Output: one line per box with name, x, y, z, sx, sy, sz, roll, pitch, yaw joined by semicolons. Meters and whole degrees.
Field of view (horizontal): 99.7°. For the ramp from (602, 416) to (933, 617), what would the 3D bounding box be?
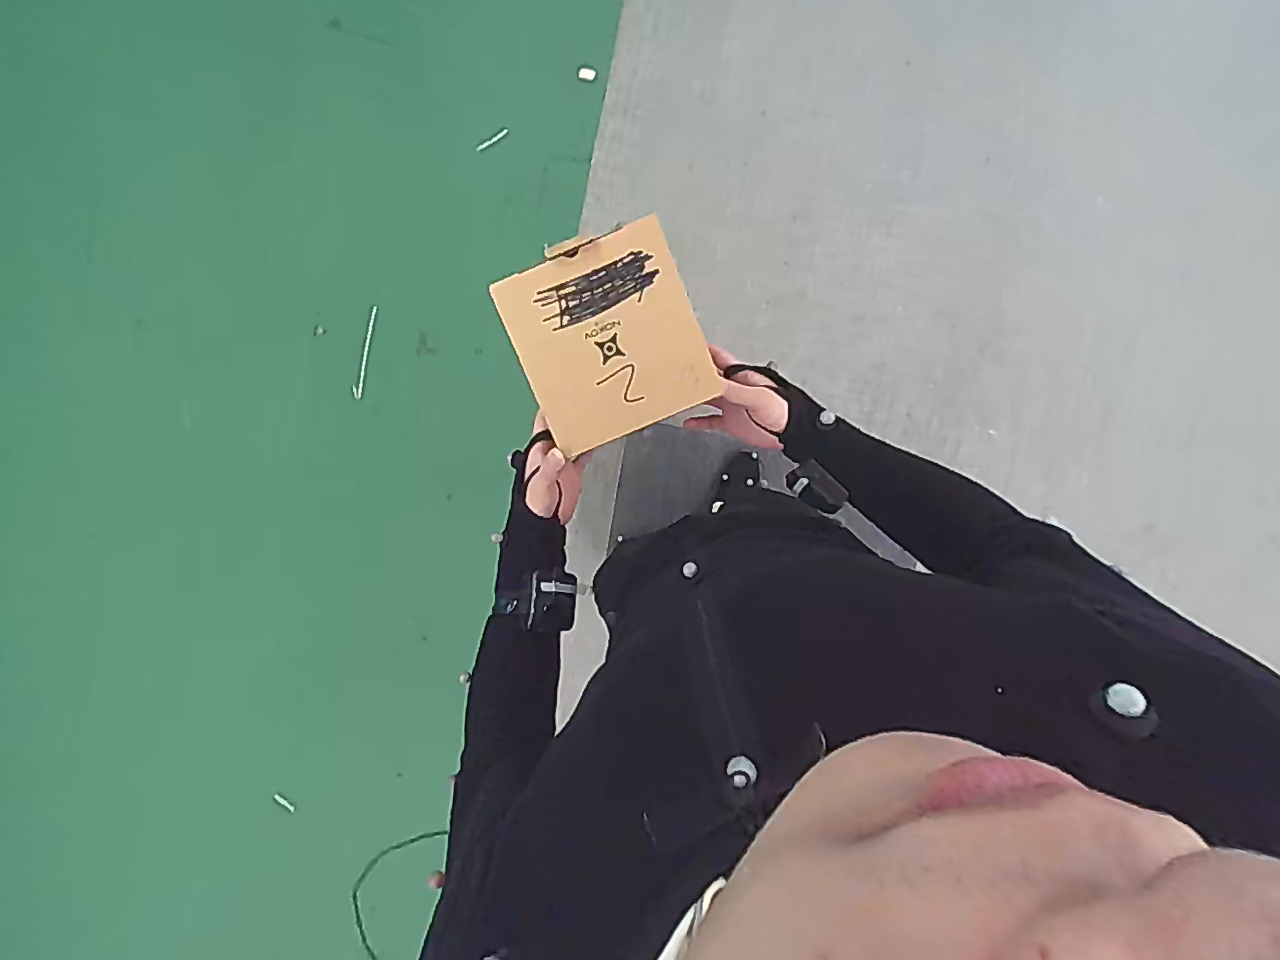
ramp;0.409;0.123;1.667;0.991;0.206;0.509;8;91;3
